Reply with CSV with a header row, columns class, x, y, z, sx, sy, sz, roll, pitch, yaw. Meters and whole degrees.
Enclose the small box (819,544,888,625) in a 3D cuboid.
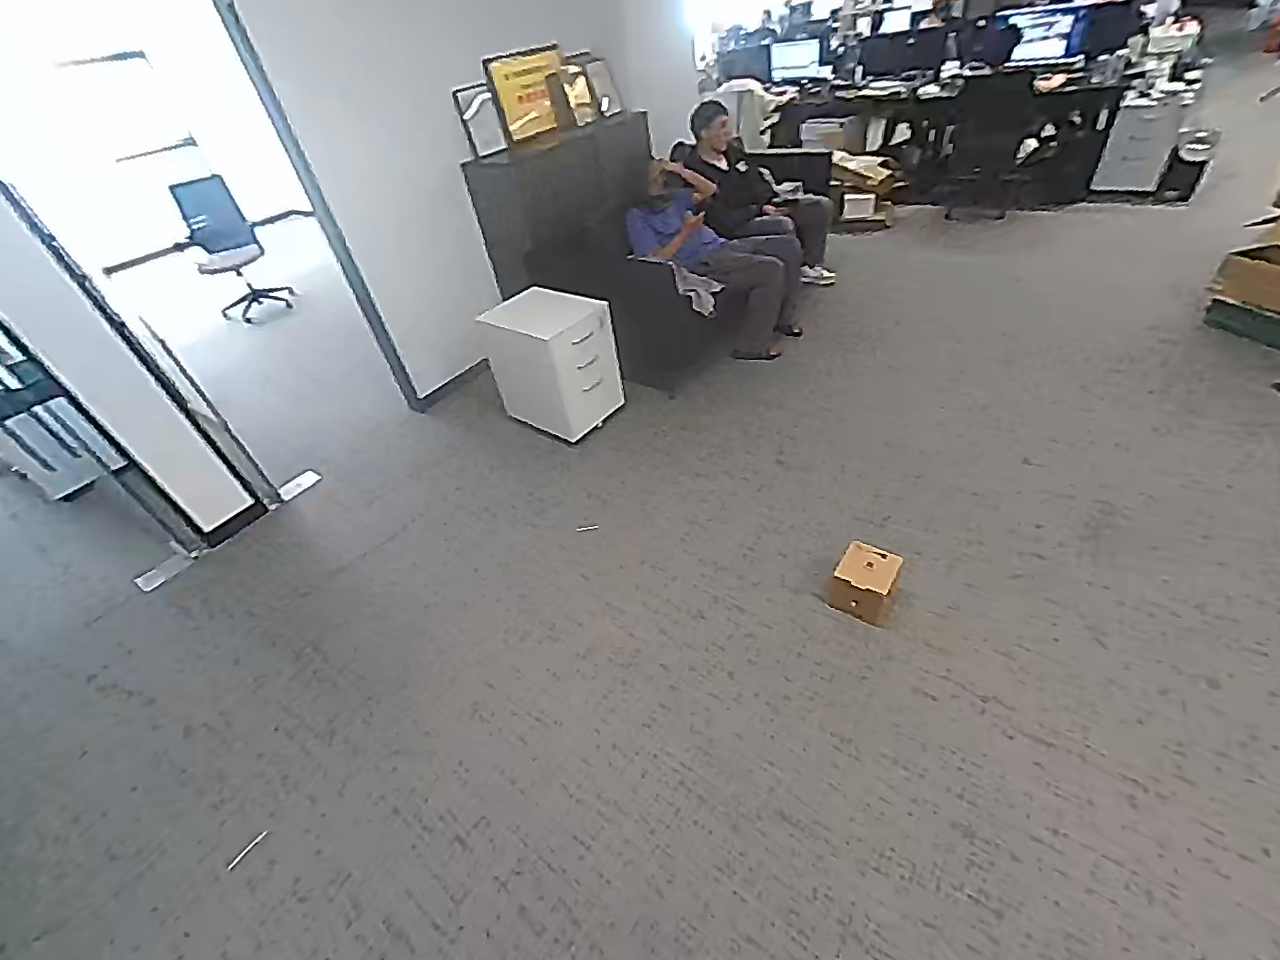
class,x,y,z,sx,sy,sz,roll,pitch,yaw
small box,0.709,0.352,1.806,0.168,0.176,0.179,19,47,30
